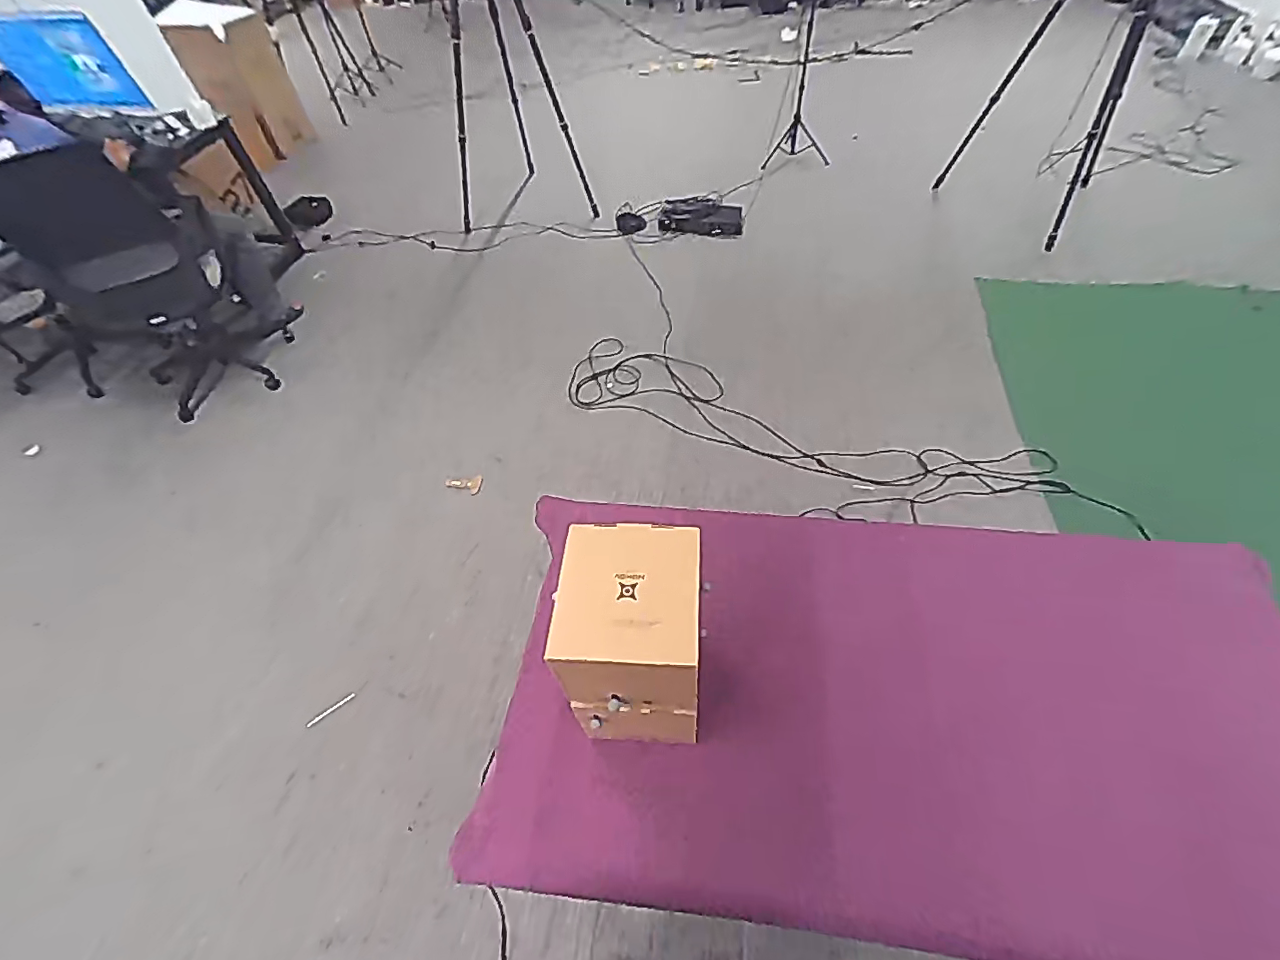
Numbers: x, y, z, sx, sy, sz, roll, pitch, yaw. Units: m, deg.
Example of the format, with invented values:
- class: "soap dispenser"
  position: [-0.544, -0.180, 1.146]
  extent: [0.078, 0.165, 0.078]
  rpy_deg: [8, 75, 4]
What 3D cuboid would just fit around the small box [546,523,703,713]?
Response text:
- class: "small box"
  position: [-0.009, 0.175, 0.684]
  extent: [0.168, 0.176, 0.179]
  rpy_deg: [2, 52, 6]
